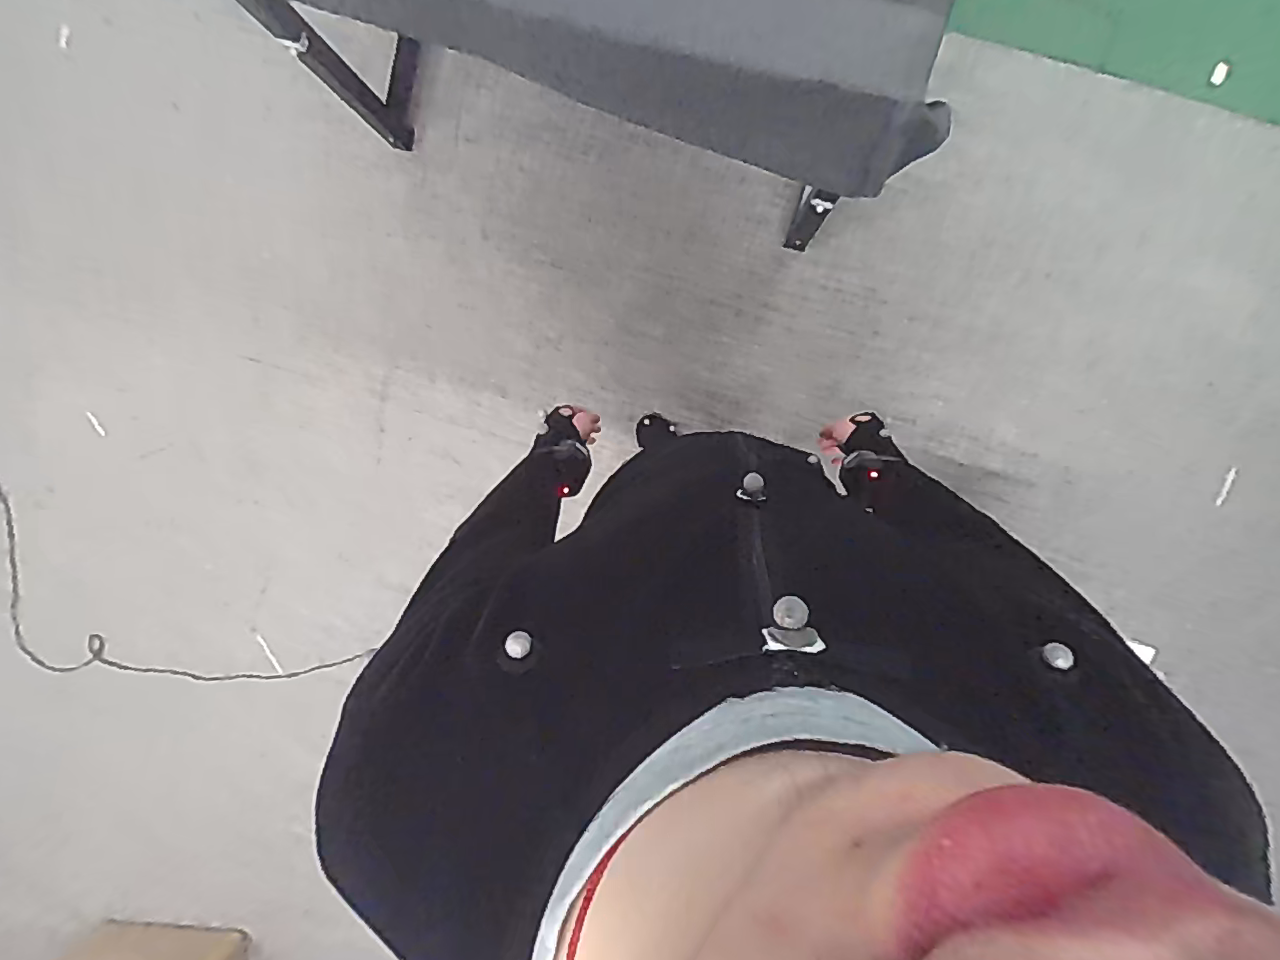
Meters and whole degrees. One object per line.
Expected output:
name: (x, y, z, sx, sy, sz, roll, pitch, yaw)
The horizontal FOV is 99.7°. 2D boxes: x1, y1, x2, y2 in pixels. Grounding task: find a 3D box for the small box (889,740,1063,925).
small box: (0.558, 0.593, 0.930, 0.168, 0.176, 0.179, 18, 97, 0)
